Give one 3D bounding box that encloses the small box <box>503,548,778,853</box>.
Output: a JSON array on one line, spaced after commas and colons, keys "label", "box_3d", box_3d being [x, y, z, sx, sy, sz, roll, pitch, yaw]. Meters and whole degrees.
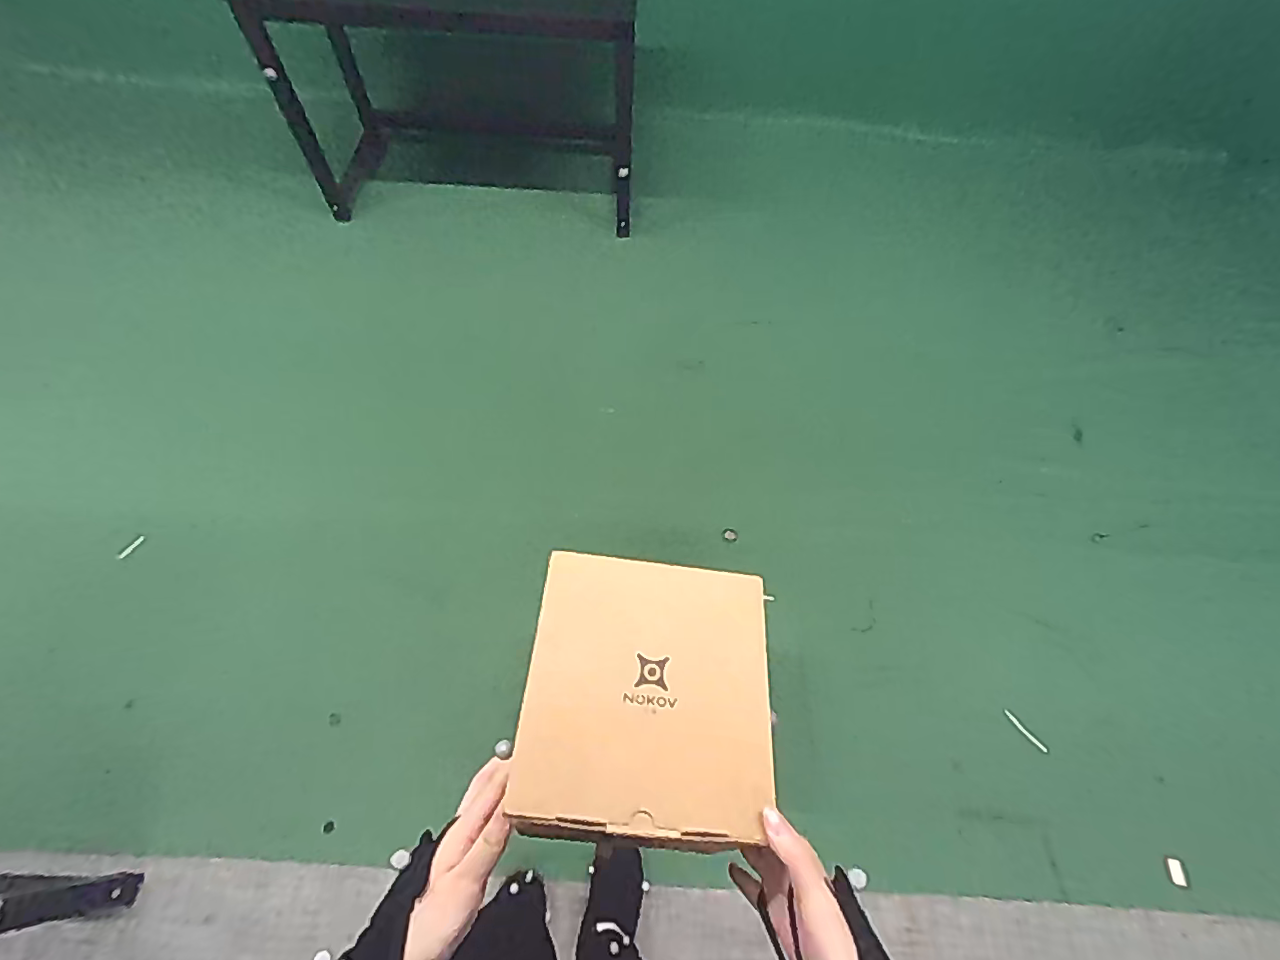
[{"label": "small box", "box_3d": [-0.004, 0.178, 0.425, 0.168, 0.176, 0.179, 8, 54, -4]}]
